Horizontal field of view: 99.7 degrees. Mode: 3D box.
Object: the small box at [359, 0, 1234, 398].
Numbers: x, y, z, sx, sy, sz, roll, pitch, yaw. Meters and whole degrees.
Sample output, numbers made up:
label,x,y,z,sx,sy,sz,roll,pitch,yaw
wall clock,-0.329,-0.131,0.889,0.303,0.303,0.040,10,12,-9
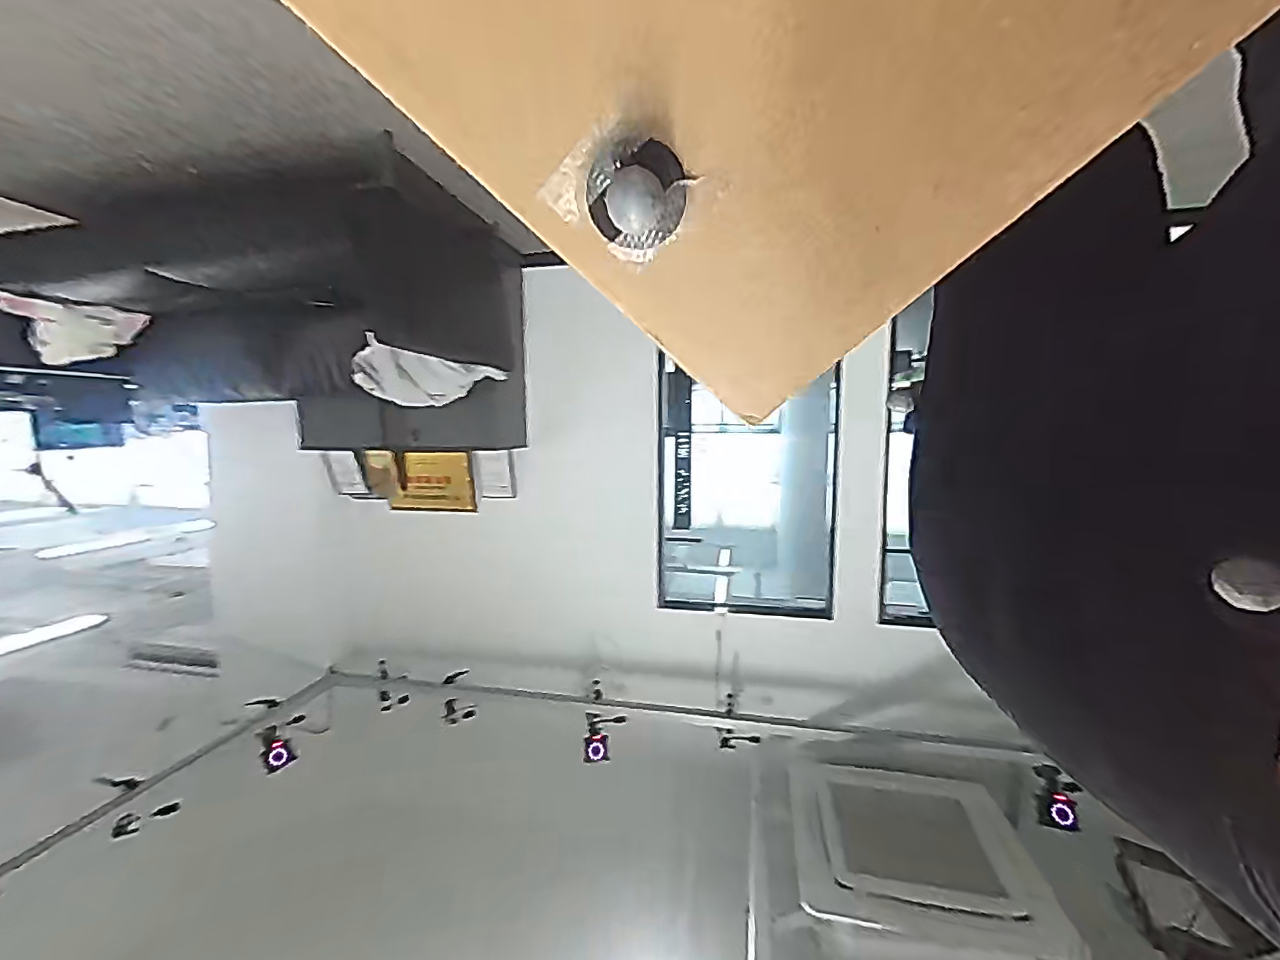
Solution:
label,x,y,z,sx,sy,sz,roll,pitch,yaw
small box,0.040,-0.165,0.160,0.168,0.176,0.179,38,-150,-24
